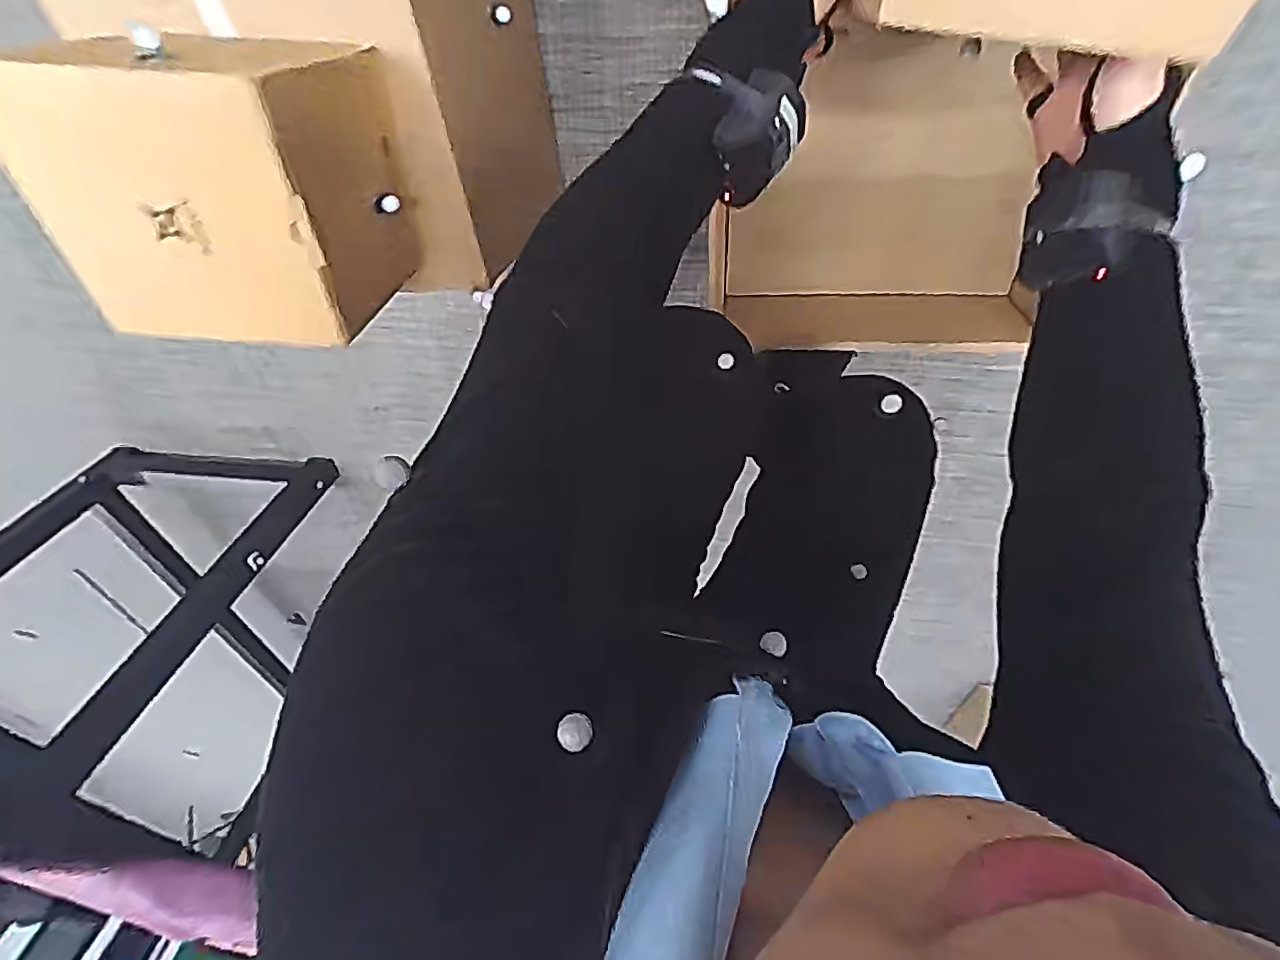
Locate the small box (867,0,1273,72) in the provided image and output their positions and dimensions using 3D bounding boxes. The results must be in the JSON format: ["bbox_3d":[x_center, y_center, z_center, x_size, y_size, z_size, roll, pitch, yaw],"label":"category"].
[{"bbox_3d":[0.221,-0.326,0.260,0.168,0.176,0.179,10,133,2],"label":"small box"}]

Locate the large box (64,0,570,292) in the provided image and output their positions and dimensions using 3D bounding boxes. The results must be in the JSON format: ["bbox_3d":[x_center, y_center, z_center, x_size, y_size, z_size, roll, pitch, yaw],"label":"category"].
[{"bbox_3d":[-0.285,-0.451,0.538,0.320,0.320,0.408,2,133,11],"label":"large box"}]
